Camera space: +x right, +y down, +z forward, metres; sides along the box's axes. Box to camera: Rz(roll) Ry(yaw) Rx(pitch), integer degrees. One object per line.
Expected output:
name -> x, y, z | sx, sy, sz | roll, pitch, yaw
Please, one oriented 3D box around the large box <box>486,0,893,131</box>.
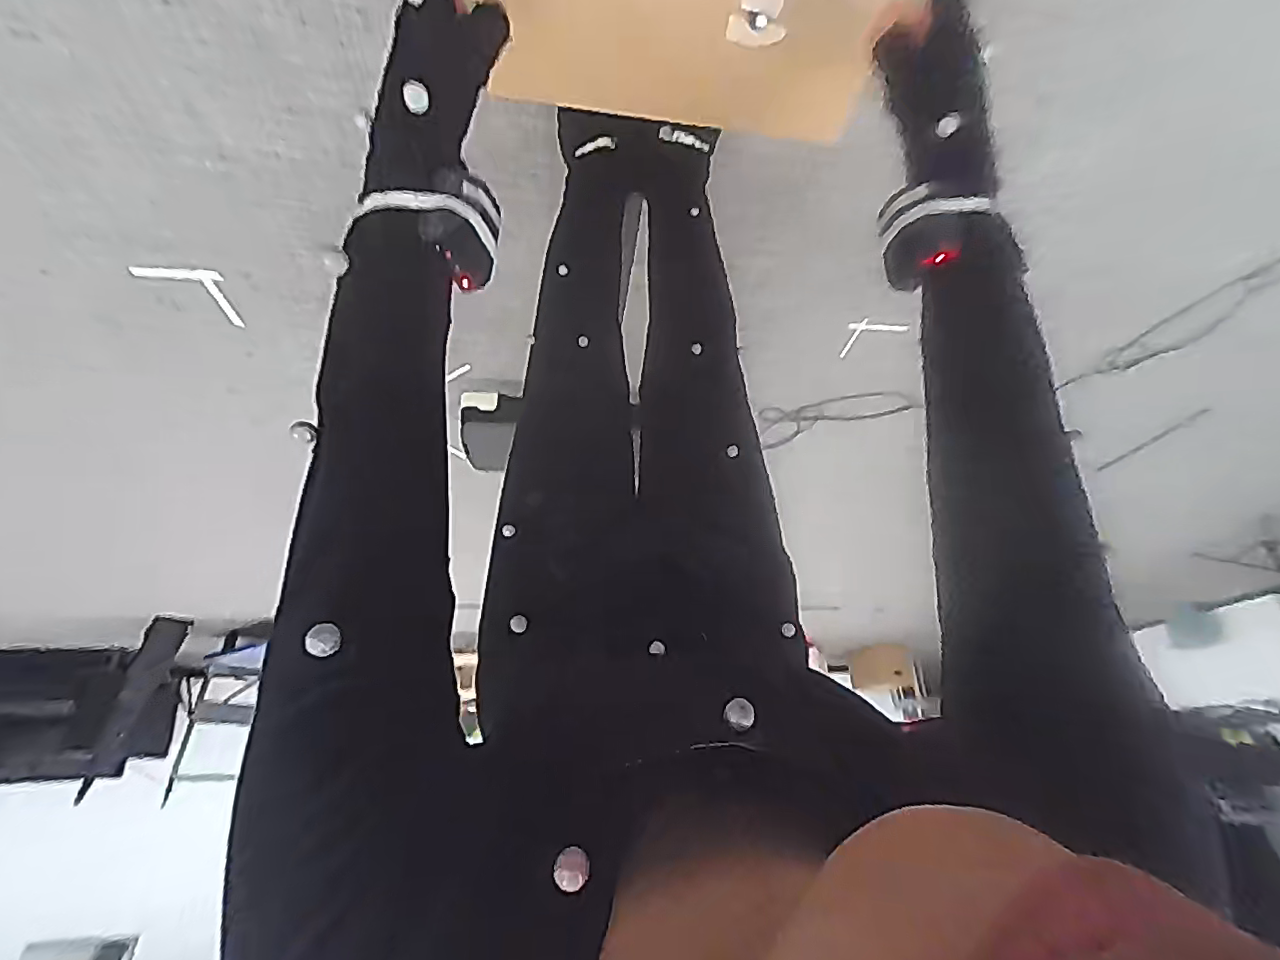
large box -> 0.048, -0.618, 0.552 | 0.408, 0.320, 0.320 | 1, 152, -8
